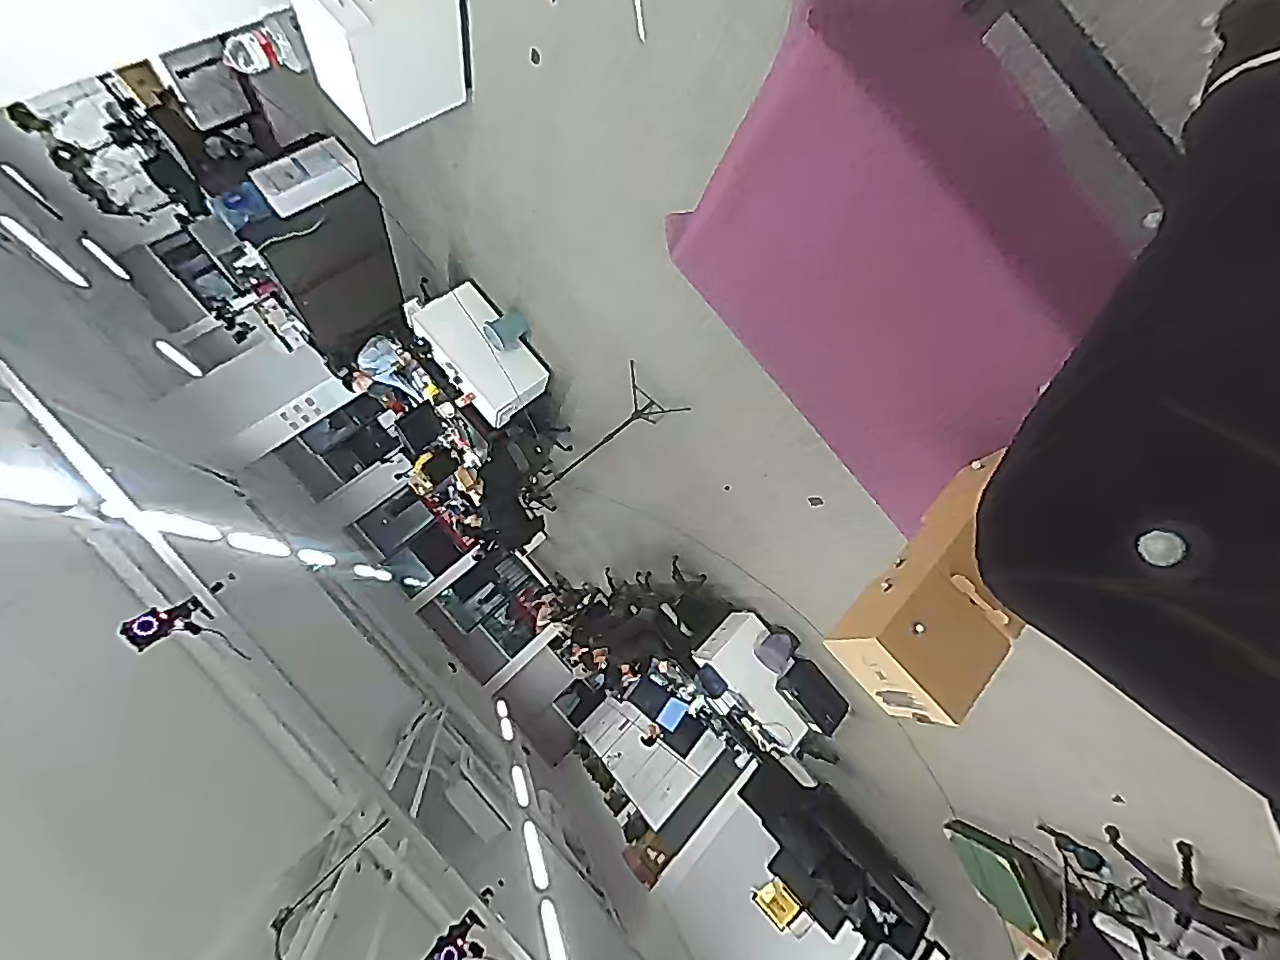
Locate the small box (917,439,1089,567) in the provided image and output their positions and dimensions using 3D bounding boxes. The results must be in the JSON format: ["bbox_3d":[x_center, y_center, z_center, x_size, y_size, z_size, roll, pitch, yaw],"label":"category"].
[{"bbox_3d":[0.677,0.057,1.013,0.179,0.176,0.168,46,159,8],"label":"small box"}]

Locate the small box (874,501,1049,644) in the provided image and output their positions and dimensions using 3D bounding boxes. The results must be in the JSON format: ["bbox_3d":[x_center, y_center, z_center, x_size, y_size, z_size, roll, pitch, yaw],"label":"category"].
[{"bbox_3d":[0.566,0.167,0.961,0.168,0.176,0.179,45,159,8],"label":"small box"}]
